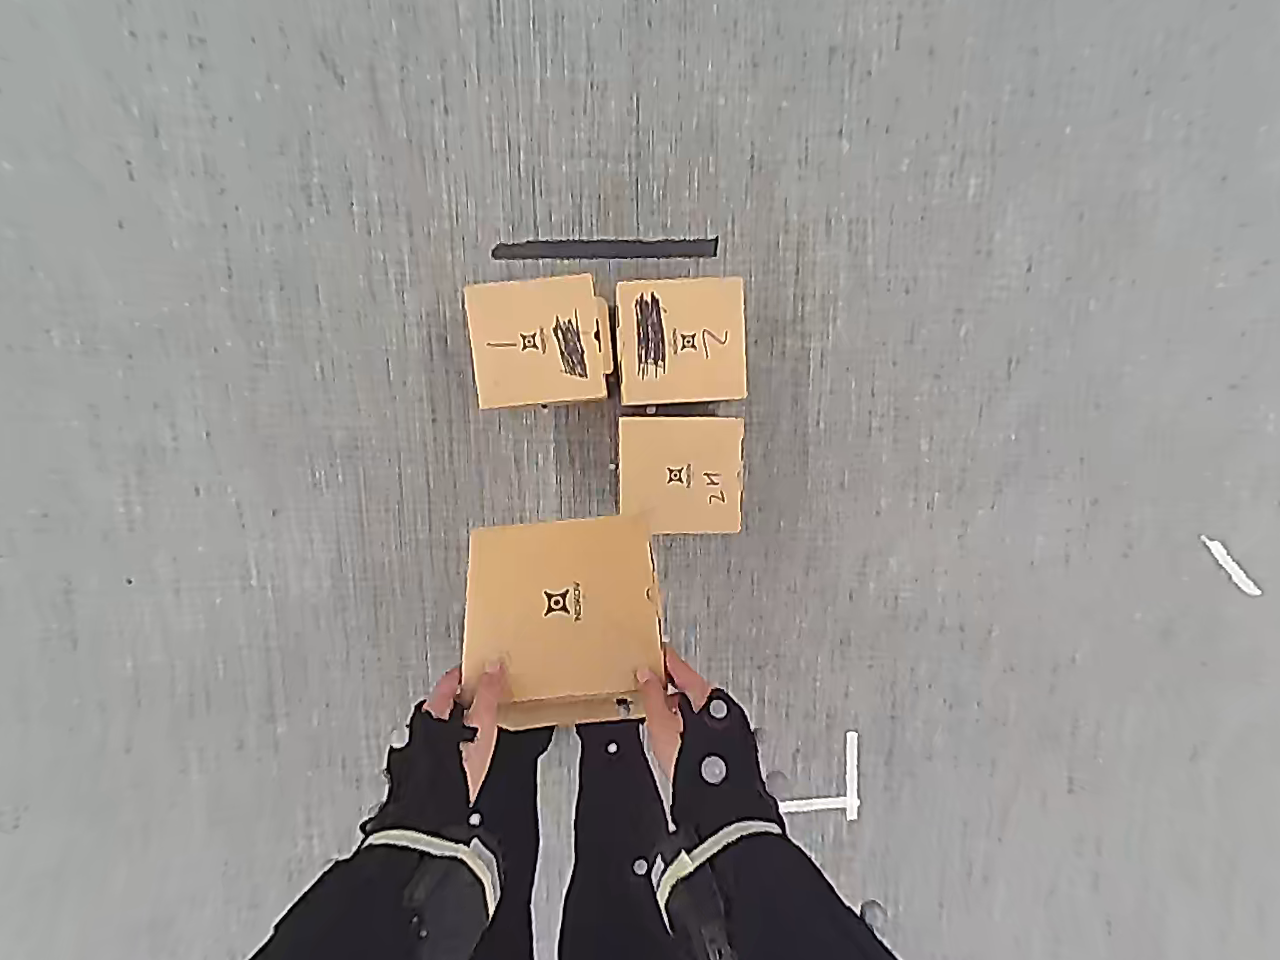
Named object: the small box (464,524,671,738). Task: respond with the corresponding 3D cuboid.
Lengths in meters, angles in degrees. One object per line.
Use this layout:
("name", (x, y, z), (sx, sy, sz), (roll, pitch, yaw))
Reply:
("small box", (-0.064, 0.161, 0.554), (0.179, 0.176, 0.168), (-5, 59, -2))
